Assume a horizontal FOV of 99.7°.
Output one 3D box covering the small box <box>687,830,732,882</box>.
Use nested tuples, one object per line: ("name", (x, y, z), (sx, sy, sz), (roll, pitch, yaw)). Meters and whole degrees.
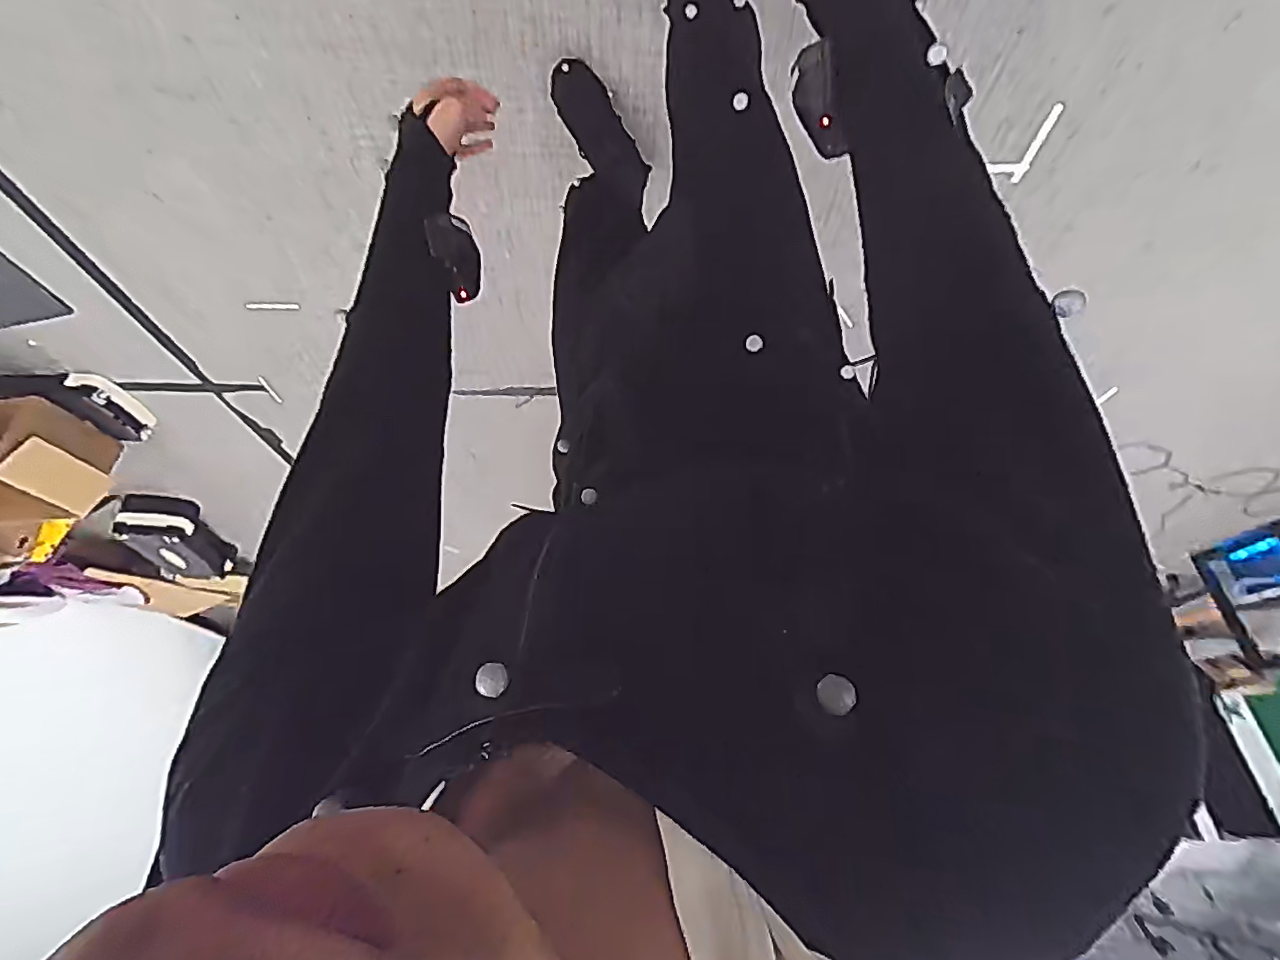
("small box", (0.296, 1.628, 2.345), (0.168, 0.176, 0.179), (0, 151, -3))
